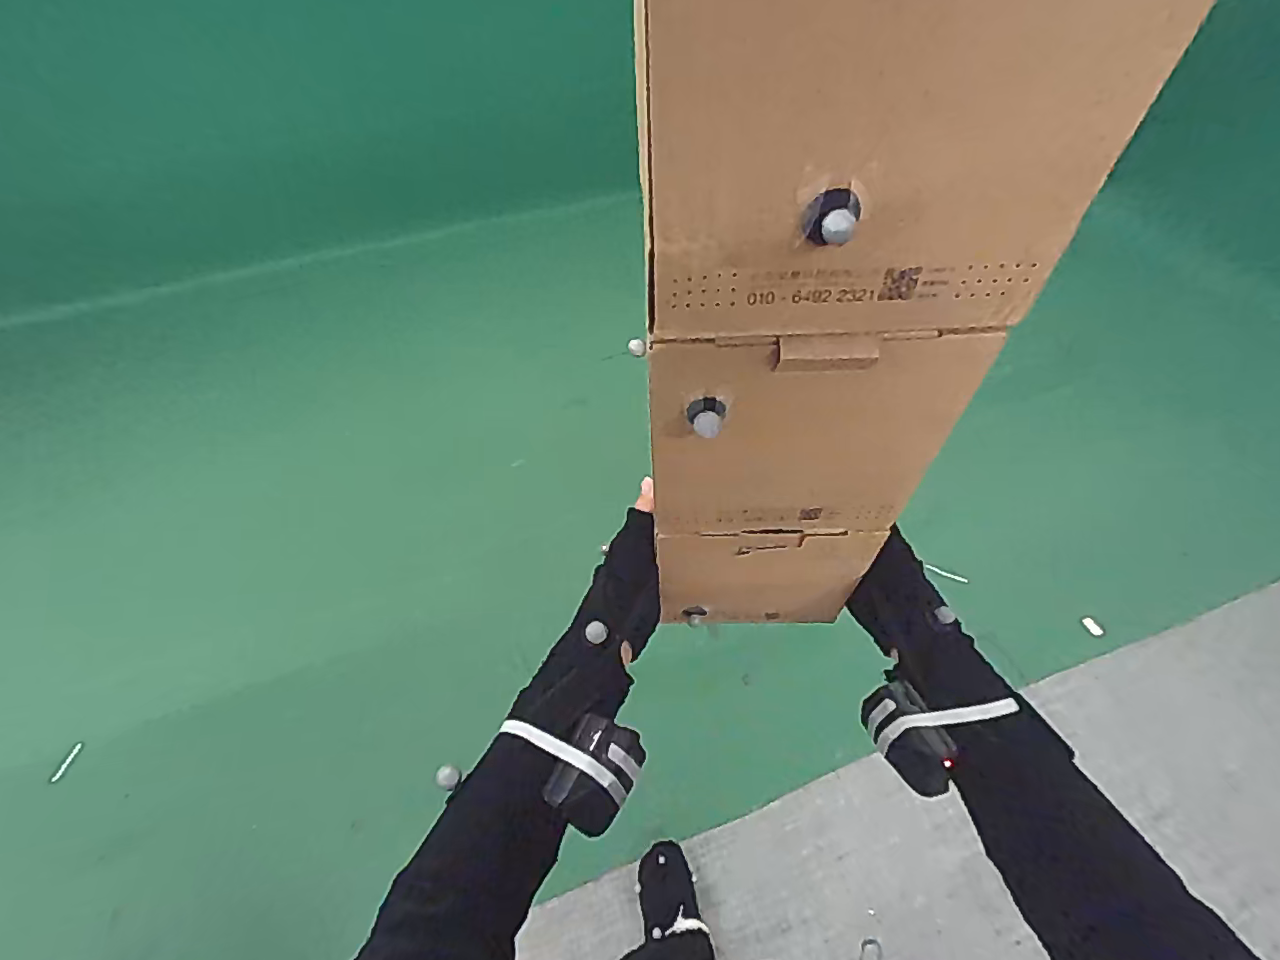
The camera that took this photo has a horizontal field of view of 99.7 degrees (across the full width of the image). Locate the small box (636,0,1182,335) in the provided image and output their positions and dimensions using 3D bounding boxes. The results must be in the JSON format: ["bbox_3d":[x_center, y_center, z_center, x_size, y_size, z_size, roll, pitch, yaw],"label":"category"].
[{"bbox_3d":[0.082,-0.187,0.243,0.168,0.176,0.179,-2,53,1],"label":"small box"}]

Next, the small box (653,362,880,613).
[{"bbox_3d":[0.098,0.014,0.501,0.168,0.176,0.179,-1,53,2],"label":"small box"}]
